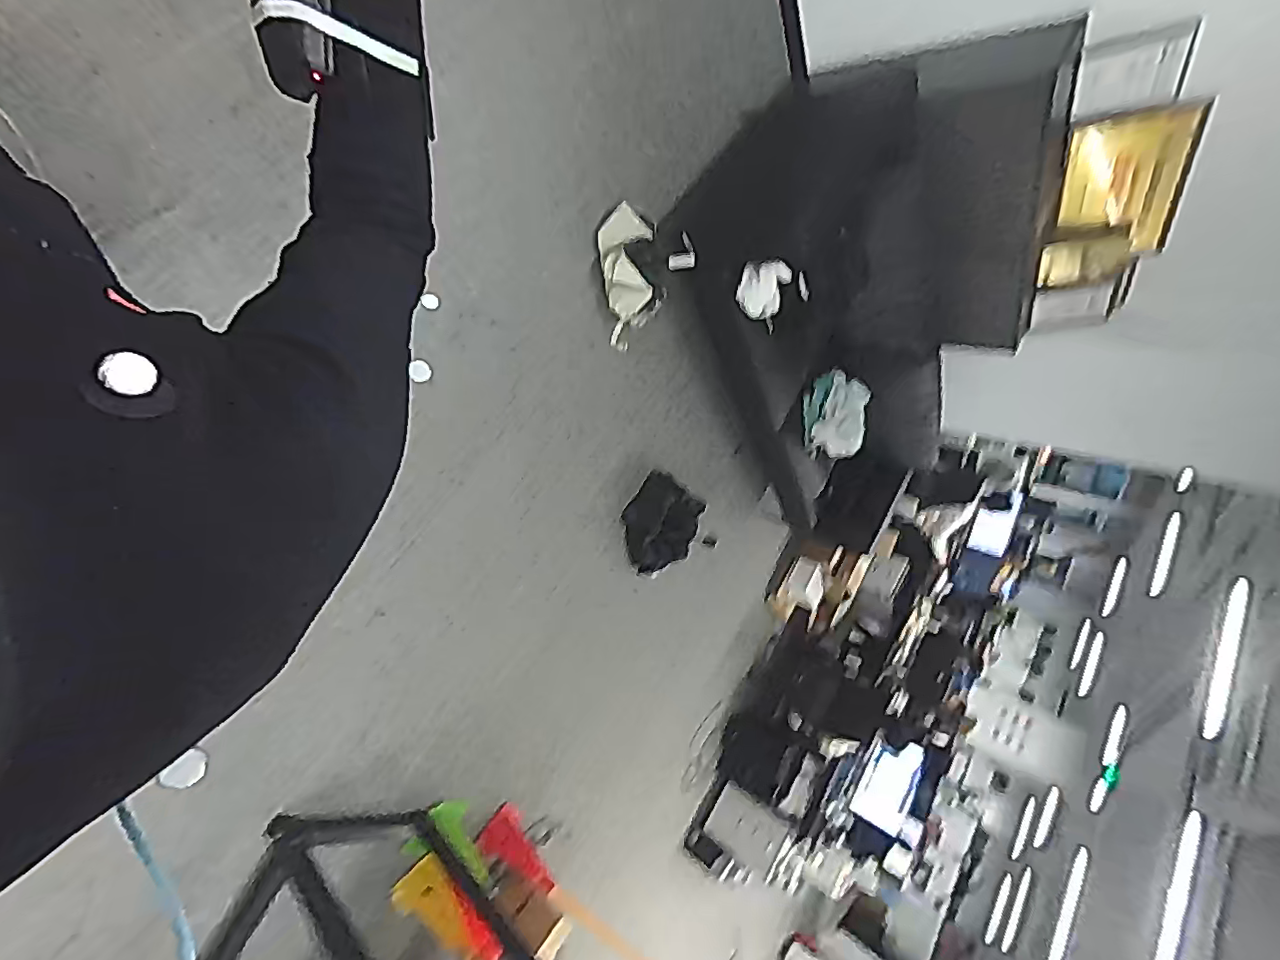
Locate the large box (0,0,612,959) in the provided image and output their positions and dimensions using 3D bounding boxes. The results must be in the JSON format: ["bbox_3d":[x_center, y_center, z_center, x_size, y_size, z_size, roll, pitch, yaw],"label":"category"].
[{"bbox_3d":[-0.222,0.024,0.307,0.320,0.320,0.408,13,61,-22],"label":"large box"}]
